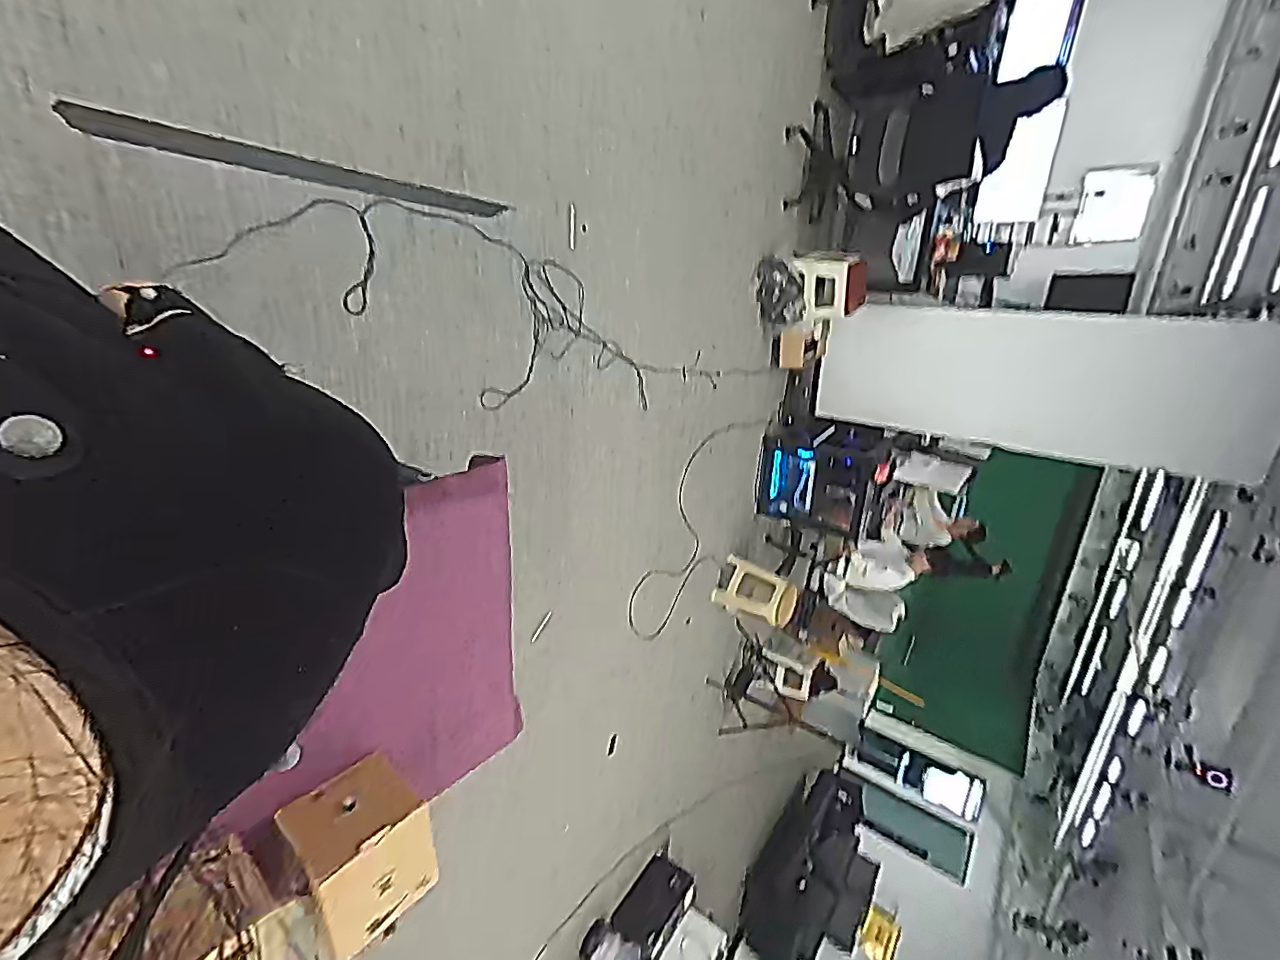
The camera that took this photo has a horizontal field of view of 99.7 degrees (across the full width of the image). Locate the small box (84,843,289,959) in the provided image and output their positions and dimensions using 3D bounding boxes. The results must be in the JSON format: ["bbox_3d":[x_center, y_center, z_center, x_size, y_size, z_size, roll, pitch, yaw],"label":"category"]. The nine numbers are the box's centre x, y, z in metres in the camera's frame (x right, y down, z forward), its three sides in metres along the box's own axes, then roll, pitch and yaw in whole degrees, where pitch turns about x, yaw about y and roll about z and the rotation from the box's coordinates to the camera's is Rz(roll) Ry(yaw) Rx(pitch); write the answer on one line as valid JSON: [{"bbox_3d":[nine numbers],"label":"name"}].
[{"bbox_3d":[-0.582,0.620,0.703,0.168,0.176,0.179,-14,113,-51],"label":"small box"}]
